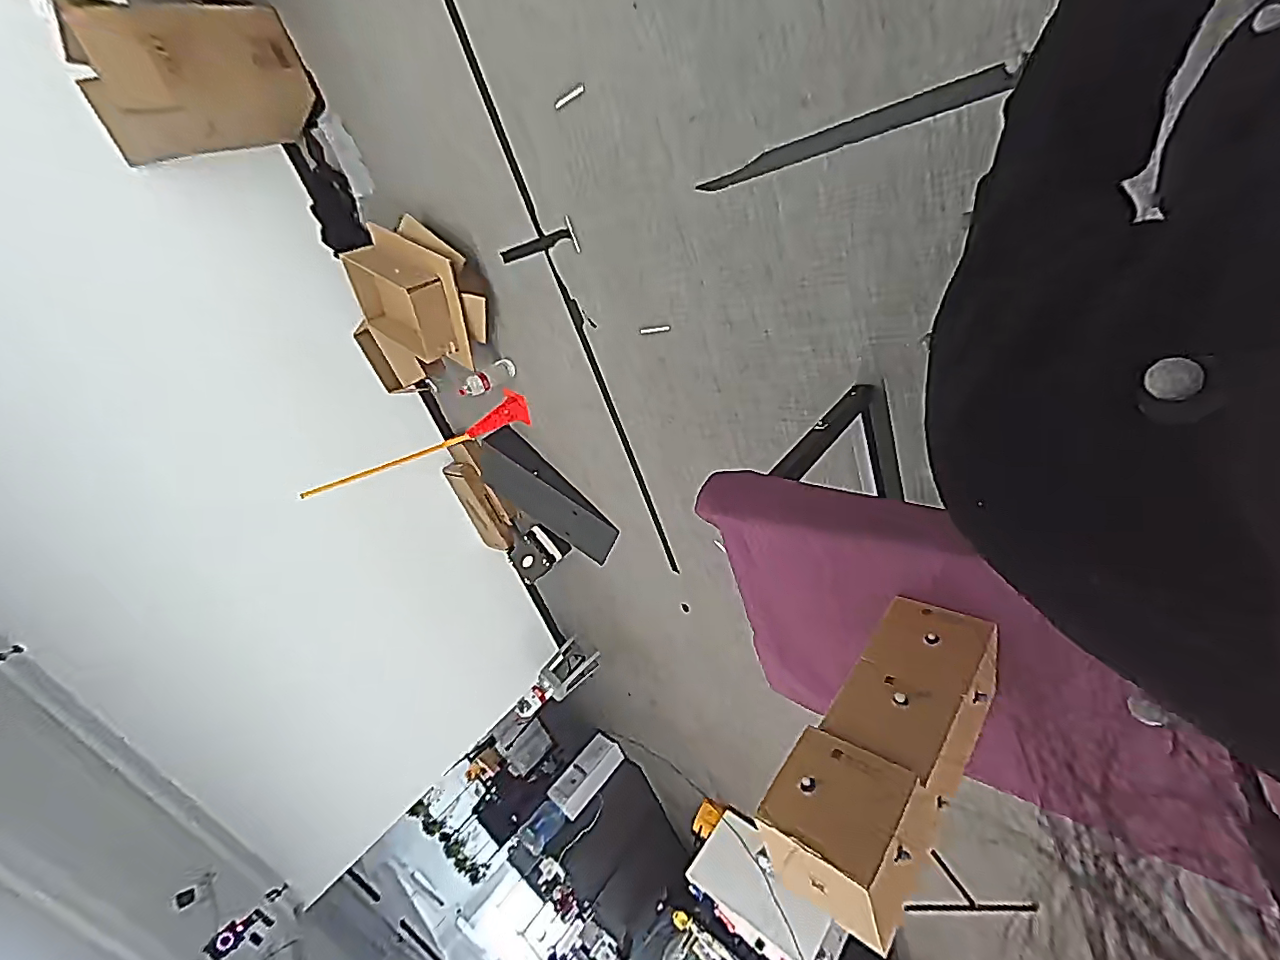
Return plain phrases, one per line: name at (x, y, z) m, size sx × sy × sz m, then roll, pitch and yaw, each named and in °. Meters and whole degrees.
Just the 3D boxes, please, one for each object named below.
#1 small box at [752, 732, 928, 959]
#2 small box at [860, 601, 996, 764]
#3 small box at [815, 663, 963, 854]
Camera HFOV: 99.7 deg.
small box at (0.288, 0.500, 0.766) m, size 0.168 × 0.176 × 0.179 m, roll 8°, pitch 128°, yaw 46°
small box at (0.508, 0.343, 0.951) m, size 0.168 × 0.176 × 0.179 m, roll 12°, pitch 131°, yaw 44°
small box at (0.401, 0.433, 0.864) m, size 0.168 × 0.176 × 0.179 m, roll 11°, pitch 129°, yaw 44°
